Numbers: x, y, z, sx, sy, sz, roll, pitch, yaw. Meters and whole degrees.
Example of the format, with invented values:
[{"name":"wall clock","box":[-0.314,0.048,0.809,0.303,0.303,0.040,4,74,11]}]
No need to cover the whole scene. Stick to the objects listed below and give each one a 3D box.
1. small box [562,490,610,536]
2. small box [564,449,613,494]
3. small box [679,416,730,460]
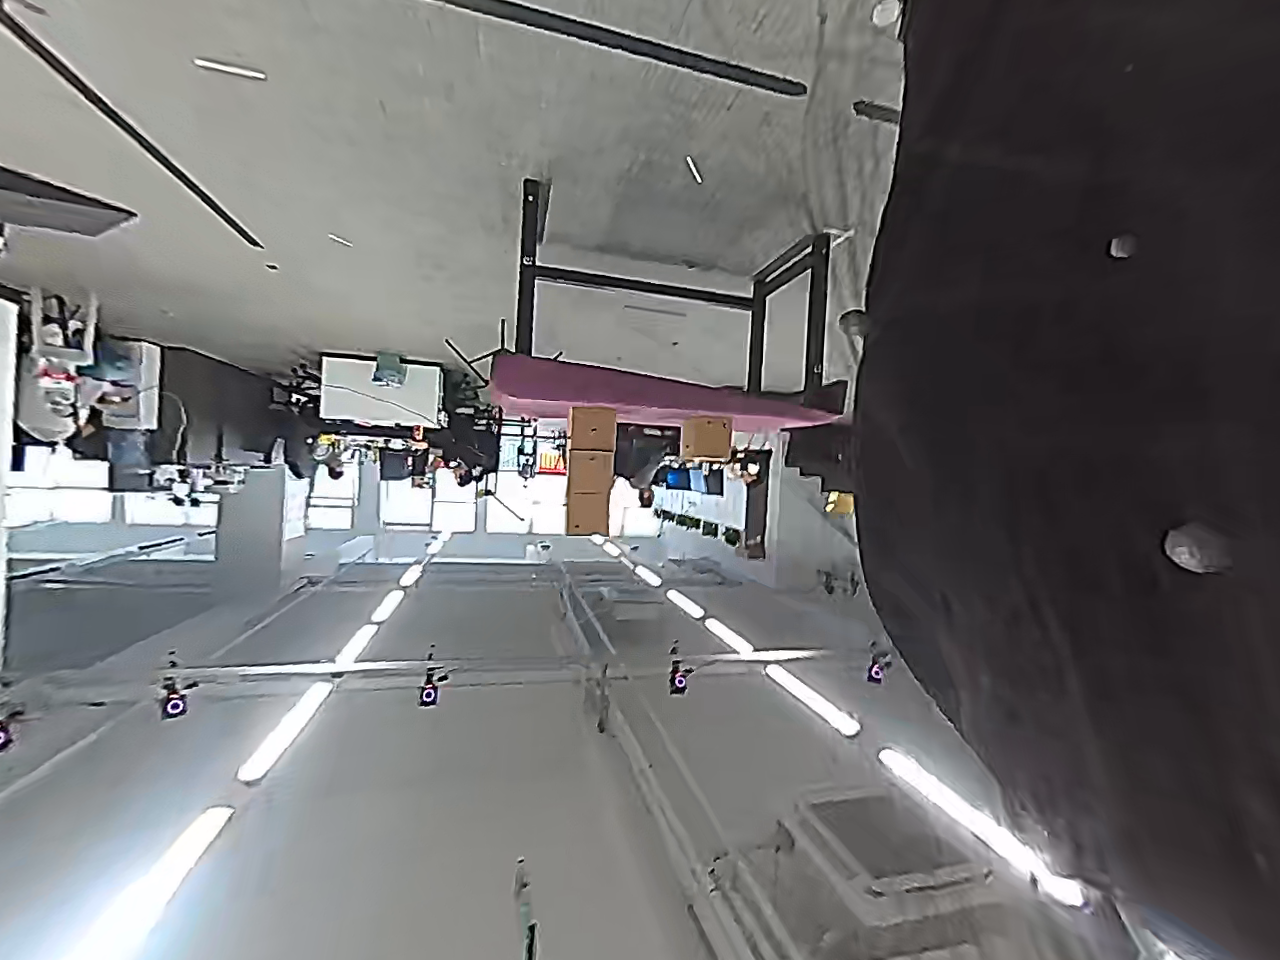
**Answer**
[{"name":"small box","box":[-0.215,0.126,2.148,0.179,0.176,0.168,3,-179,-11]},{"name":"small box","box":[-0.206,-0.037,2.137,0.179,0.176,0.168,3,-179,-10]},{"name":"small box","box":[0.272,-0.175,2.266,0.168,0.176,0.179,3,-179,-15]}]
